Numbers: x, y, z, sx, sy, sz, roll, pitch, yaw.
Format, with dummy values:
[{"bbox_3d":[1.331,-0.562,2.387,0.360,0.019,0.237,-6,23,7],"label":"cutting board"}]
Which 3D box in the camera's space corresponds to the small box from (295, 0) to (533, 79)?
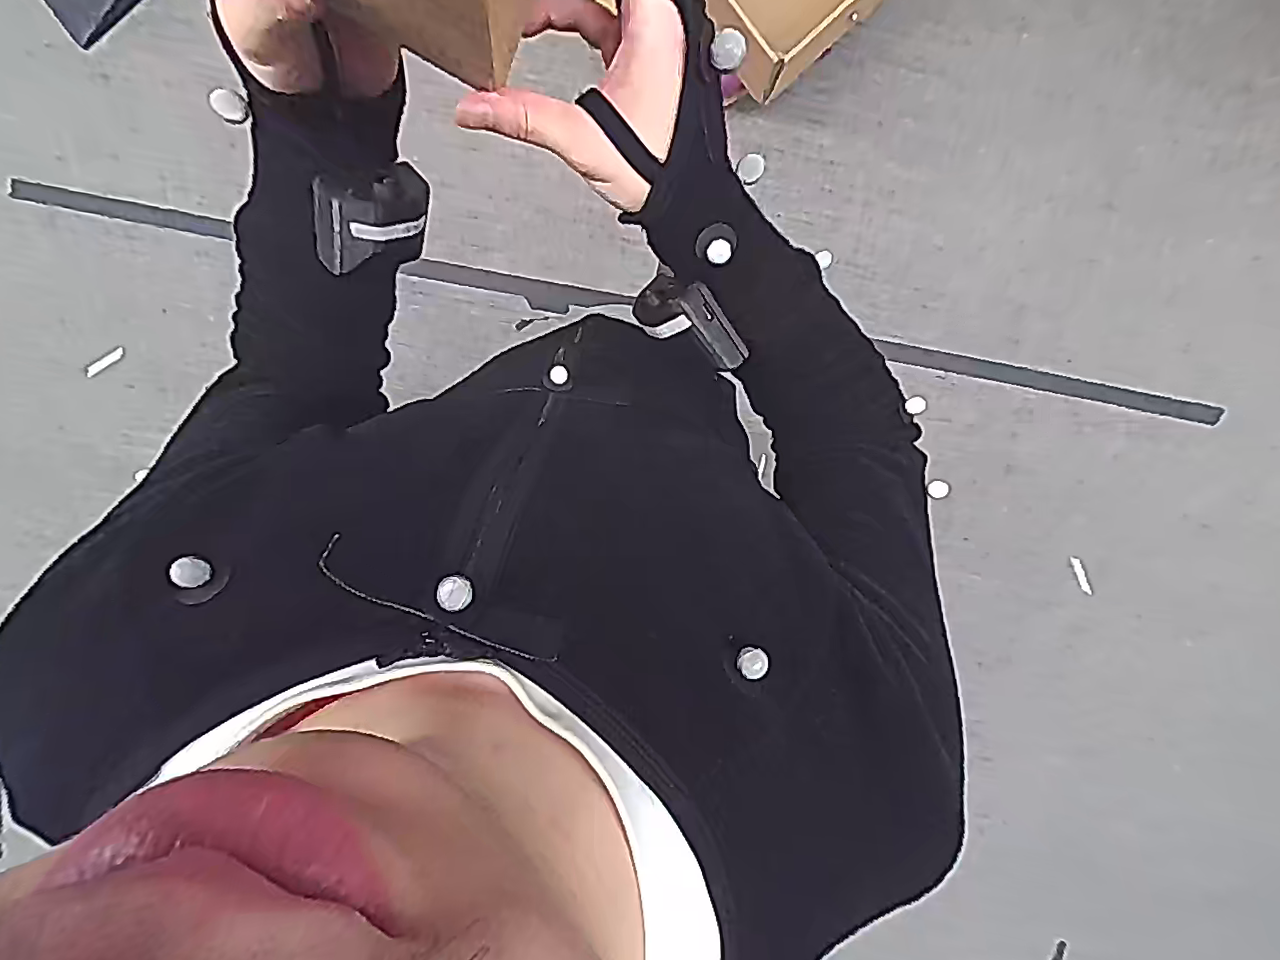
[{"bbox_3d":[-0.090,-0.243,0.133,0.179,0.176,0.168,20,103,-20],"label":"small box"}]
